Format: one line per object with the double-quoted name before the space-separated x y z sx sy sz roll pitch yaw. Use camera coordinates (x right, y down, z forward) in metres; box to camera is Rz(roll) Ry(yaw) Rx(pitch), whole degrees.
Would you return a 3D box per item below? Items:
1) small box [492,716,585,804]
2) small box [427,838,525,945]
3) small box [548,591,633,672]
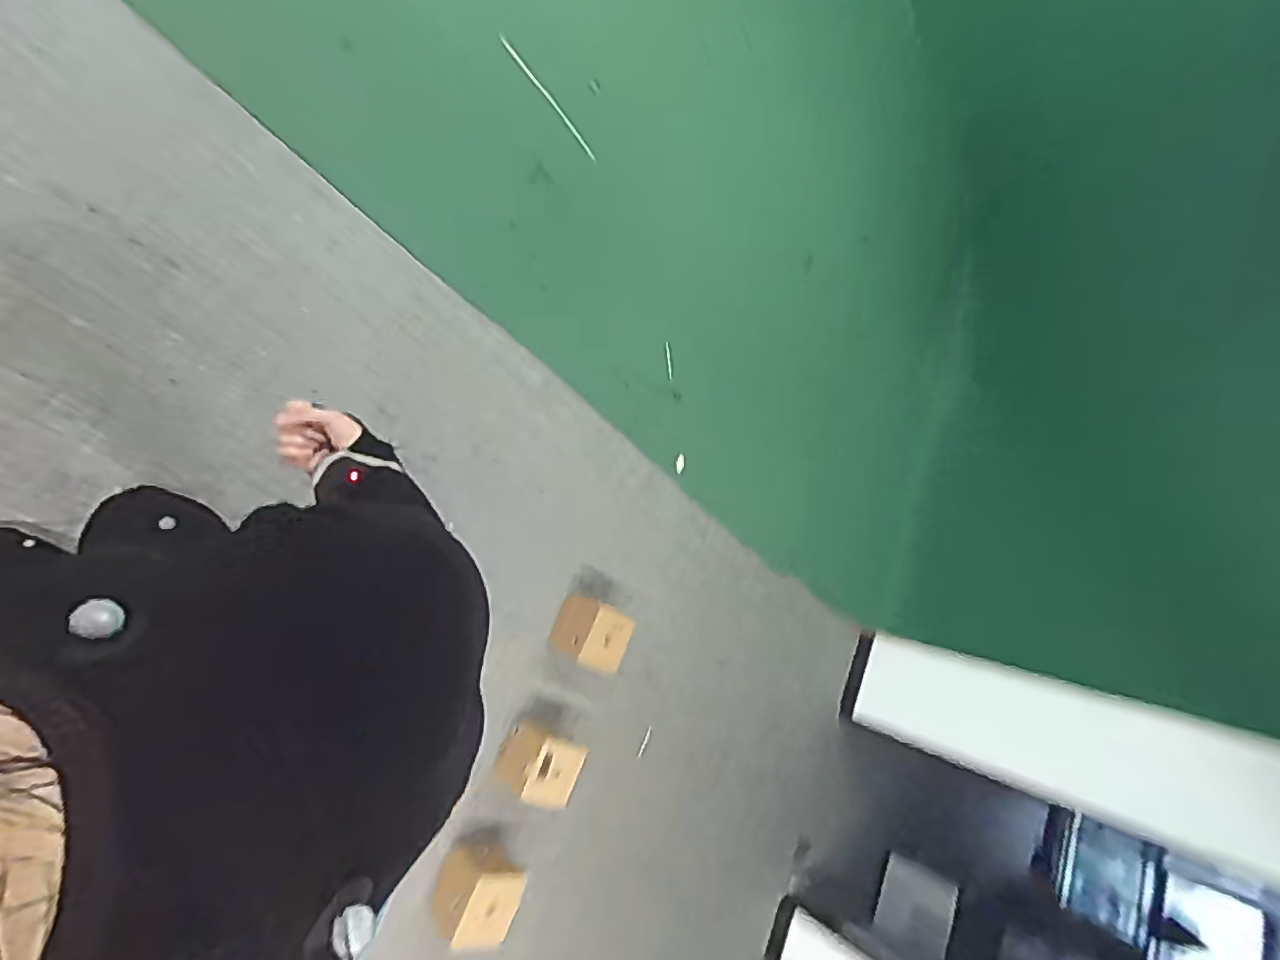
"small box" -0.302 0.817 1.589 0.179 0.176 0.168 38 70 -38
"small box" -0.453 1.119 1.483 0.168 0.176 0.179 34 72 -37
"small box" -0.159 0.467 1.683 0.168 0.176 0.179 37 70 -38
